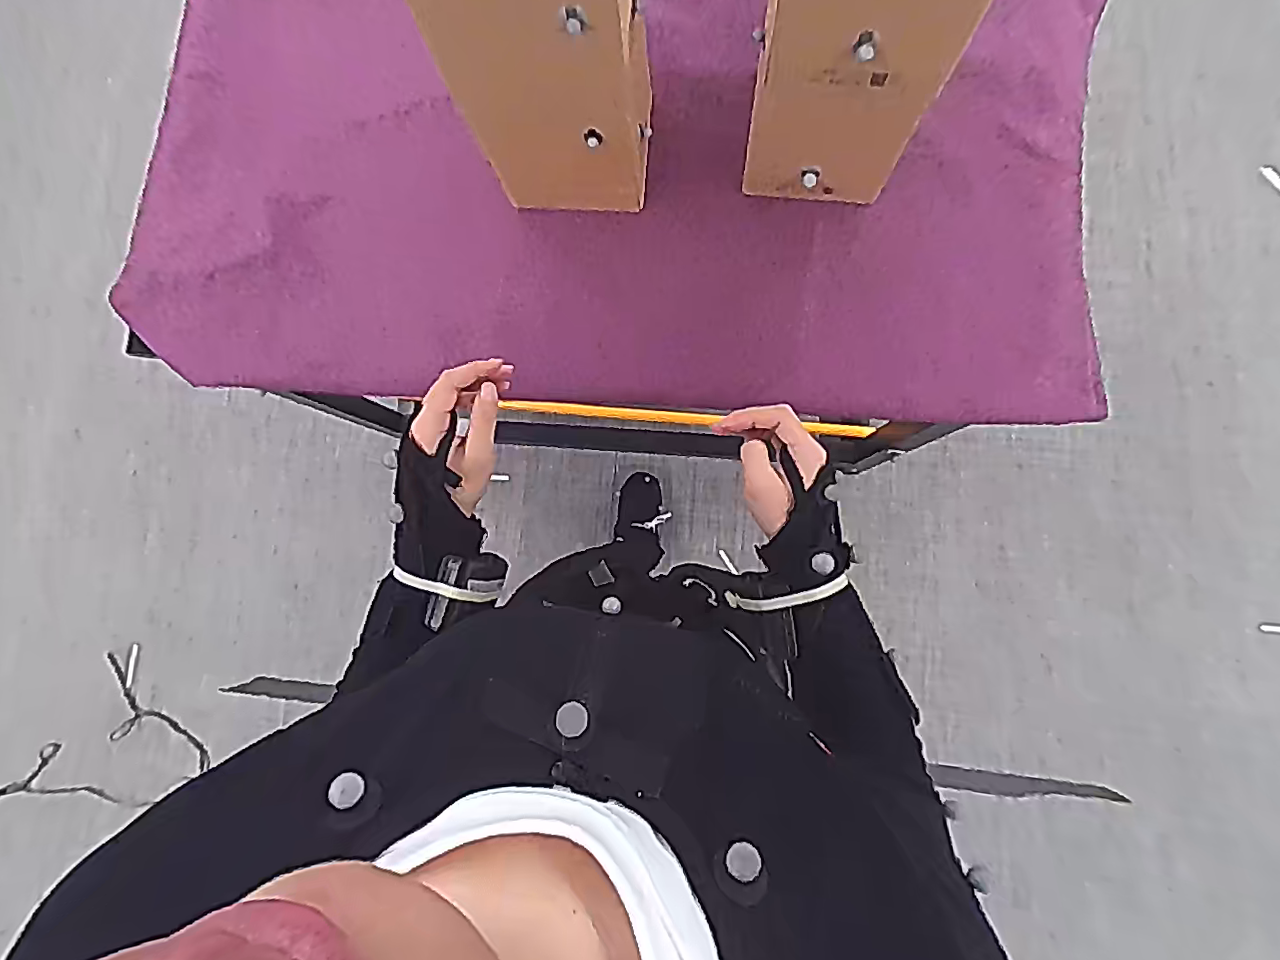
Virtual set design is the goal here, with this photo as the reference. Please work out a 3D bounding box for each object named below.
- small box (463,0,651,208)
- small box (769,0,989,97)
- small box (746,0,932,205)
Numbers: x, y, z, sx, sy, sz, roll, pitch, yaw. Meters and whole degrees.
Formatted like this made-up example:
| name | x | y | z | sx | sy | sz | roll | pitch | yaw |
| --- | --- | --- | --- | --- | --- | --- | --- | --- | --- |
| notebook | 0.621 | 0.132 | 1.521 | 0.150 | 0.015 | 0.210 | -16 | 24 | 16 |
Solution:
| name | x | y | z | sx | sy | sz | roll | pitch | yaw |
| --- | --- | --- | --- | --- | --- | --- | --- | --- | --- |
| small box | -0.084 | -0.447 | 0.639 | 0.179 | 0.176 | 0.168 | 4 | 83 | 4 |
| small box | 0.208 | -0.468 | 0.449 | 0.168 | 0.176 | 0.179 | 7 | 84 | 6 |
| small box | 0.218 | -0.450 | 0.613 | 0.168 | 0.176 | 0.179 | 8 | 85 | 6 |
